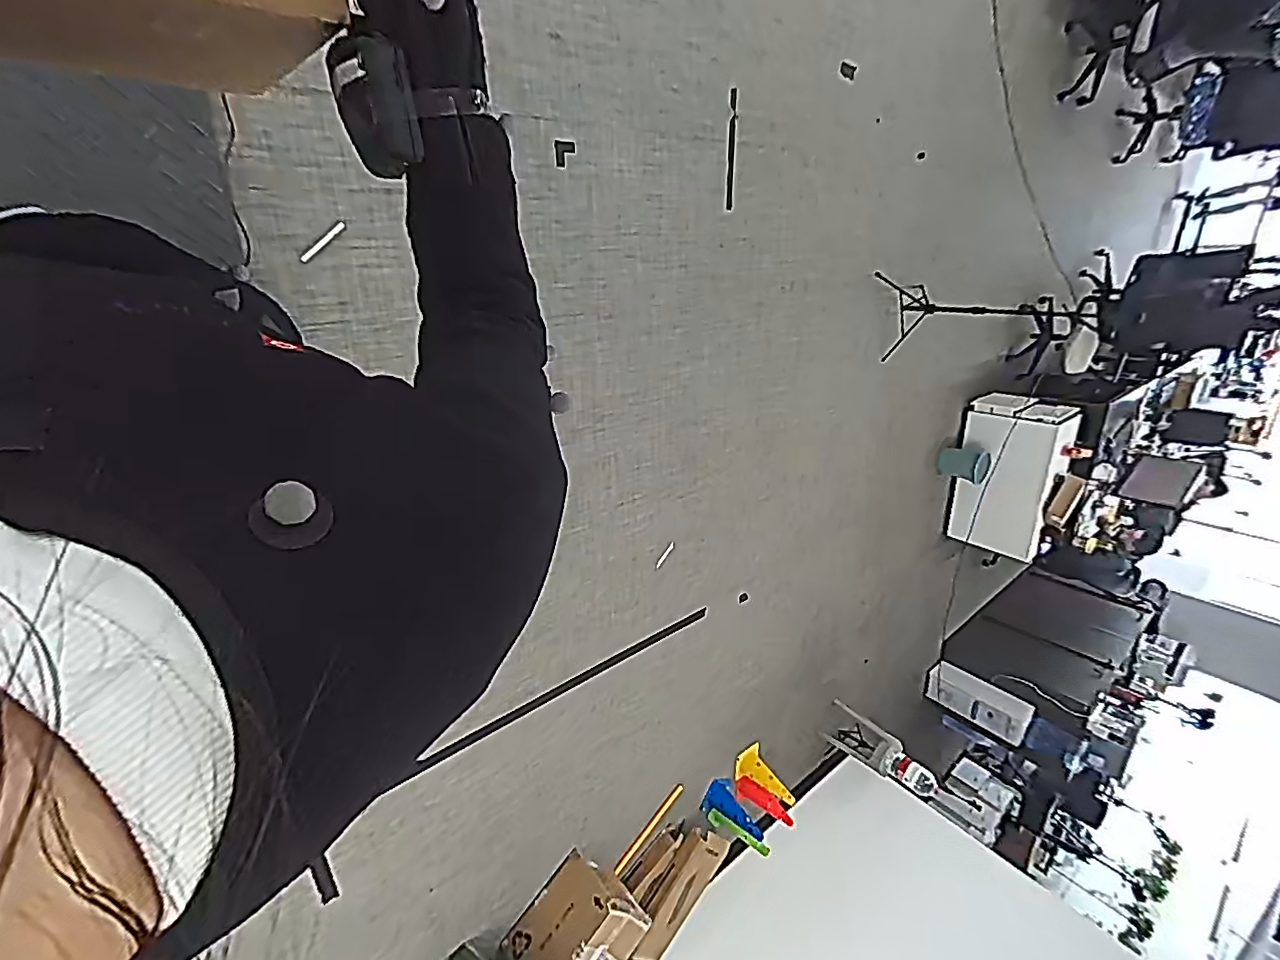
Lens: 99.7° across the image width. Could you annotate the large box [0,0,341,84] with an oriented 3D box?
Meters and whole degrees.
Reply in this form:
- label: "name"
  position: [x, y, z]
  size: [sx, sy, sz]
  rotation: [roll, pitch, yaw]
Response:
- label: "large box"
  position: [-0.412, -0.397, 0.224]
  size: [0.408, 0.320, 0.320]
  rotation: [-19, 125, -36]
